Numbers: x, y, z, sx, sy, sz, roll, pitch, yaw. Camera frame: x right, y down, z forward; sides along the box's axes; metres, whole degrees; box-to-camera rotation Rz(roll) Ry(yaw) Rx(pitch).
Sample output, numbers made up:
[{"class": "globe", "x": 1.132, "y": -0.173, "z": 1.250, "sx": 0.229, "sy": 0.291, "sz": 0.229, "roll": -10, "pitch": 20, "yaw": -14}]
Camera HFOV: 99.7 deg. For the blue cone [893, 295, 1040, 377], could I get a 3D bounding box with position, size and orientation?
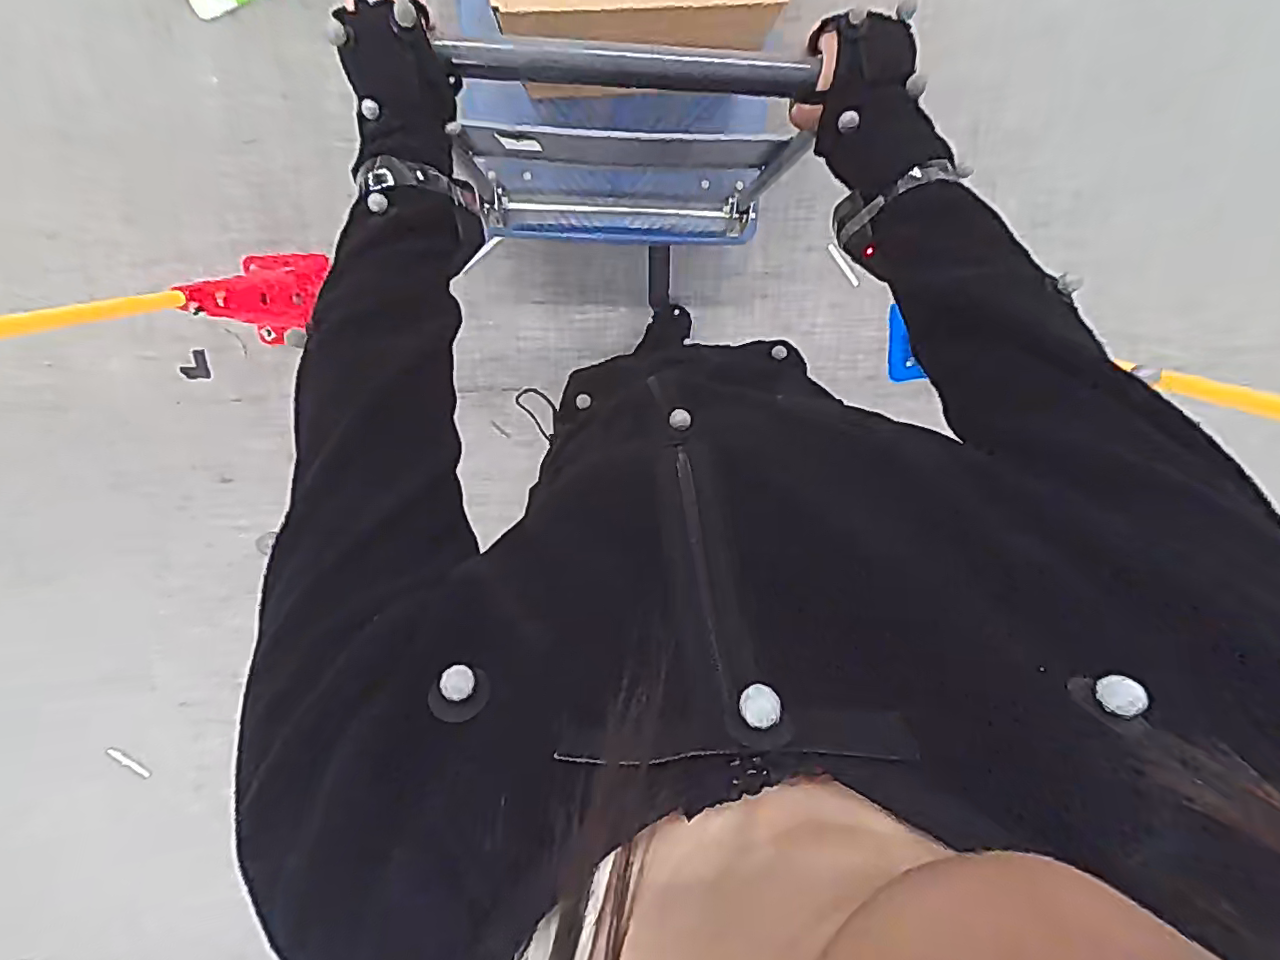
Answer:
[{"class": "blue cone", "x": 0.739, "y": -0.315, "z": 1.210, "sx": 0.193, "sy": 0.380, "sz": 0.192, "roll": -5, "pitch": 106, "yaw": -1}]
